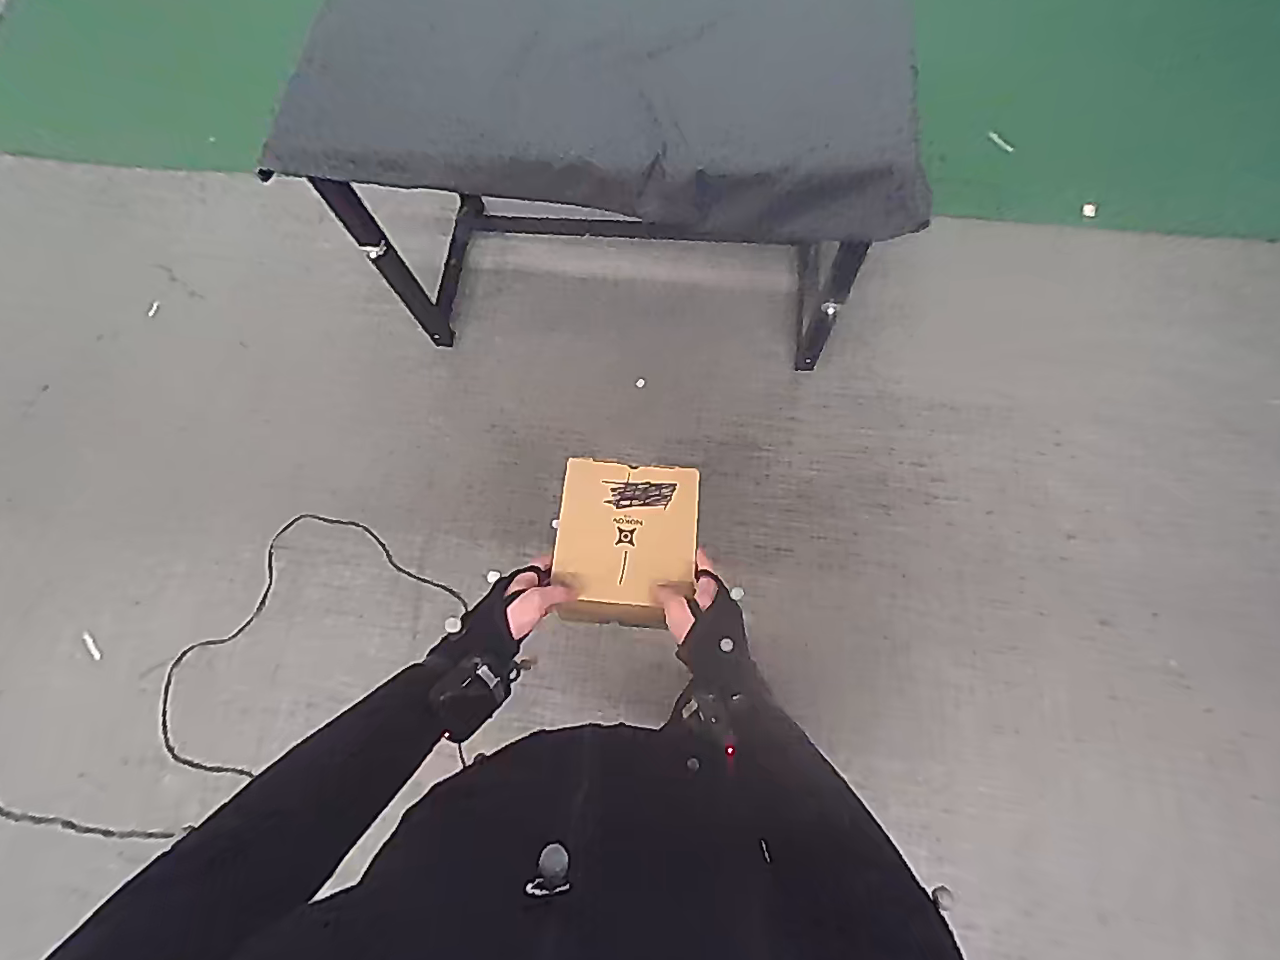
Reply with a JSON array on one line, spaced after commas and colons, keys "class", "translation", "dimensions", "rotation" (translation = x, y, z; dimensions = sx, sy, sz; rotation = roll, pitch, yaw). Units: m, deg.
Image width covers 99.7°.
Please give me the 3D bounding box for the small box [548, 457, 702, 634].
[{"class": "small box", "translation": [-0.017, 0.091, 0.695], "dimensions": [0.168, 0.176, 0.179], "rotation": [5, 66, 0]}]
